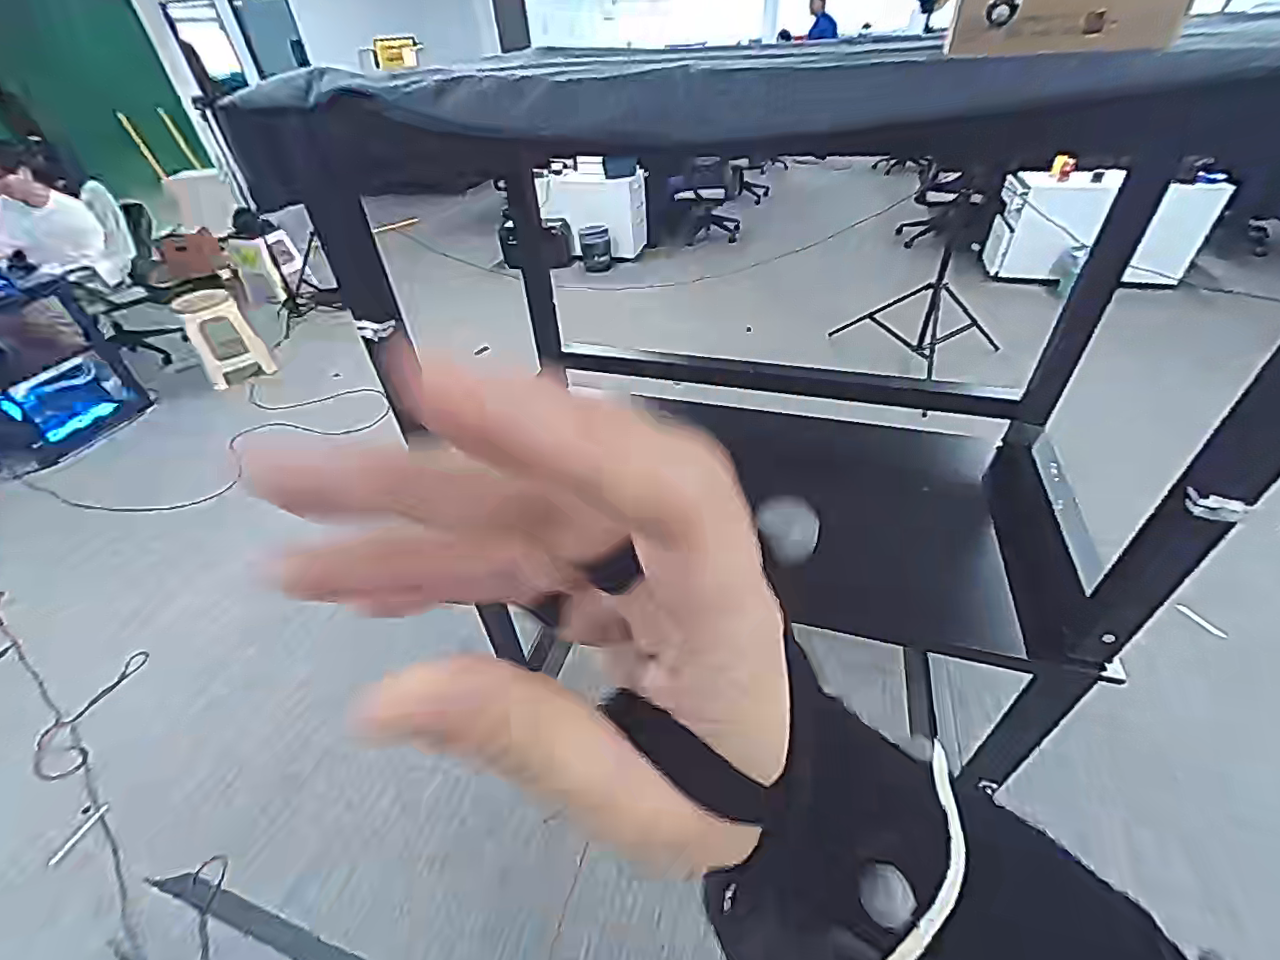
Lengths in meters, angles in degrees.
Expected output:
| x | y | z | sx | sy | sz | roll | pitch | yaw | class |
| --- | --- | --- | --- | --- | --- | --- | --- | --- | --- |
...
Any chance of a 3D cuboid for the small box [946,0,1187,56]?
| x | y | z | sx | sy | sz | roll | pitch | yaw | class |
| --- | --- | --- | --- | --- | --- | --- | --- | --- | --- |
| 0.378 | -0.479 | 0.465 | 0.168 | 0.176 | 0.179 | 12 | 41 | 19 | small box |
